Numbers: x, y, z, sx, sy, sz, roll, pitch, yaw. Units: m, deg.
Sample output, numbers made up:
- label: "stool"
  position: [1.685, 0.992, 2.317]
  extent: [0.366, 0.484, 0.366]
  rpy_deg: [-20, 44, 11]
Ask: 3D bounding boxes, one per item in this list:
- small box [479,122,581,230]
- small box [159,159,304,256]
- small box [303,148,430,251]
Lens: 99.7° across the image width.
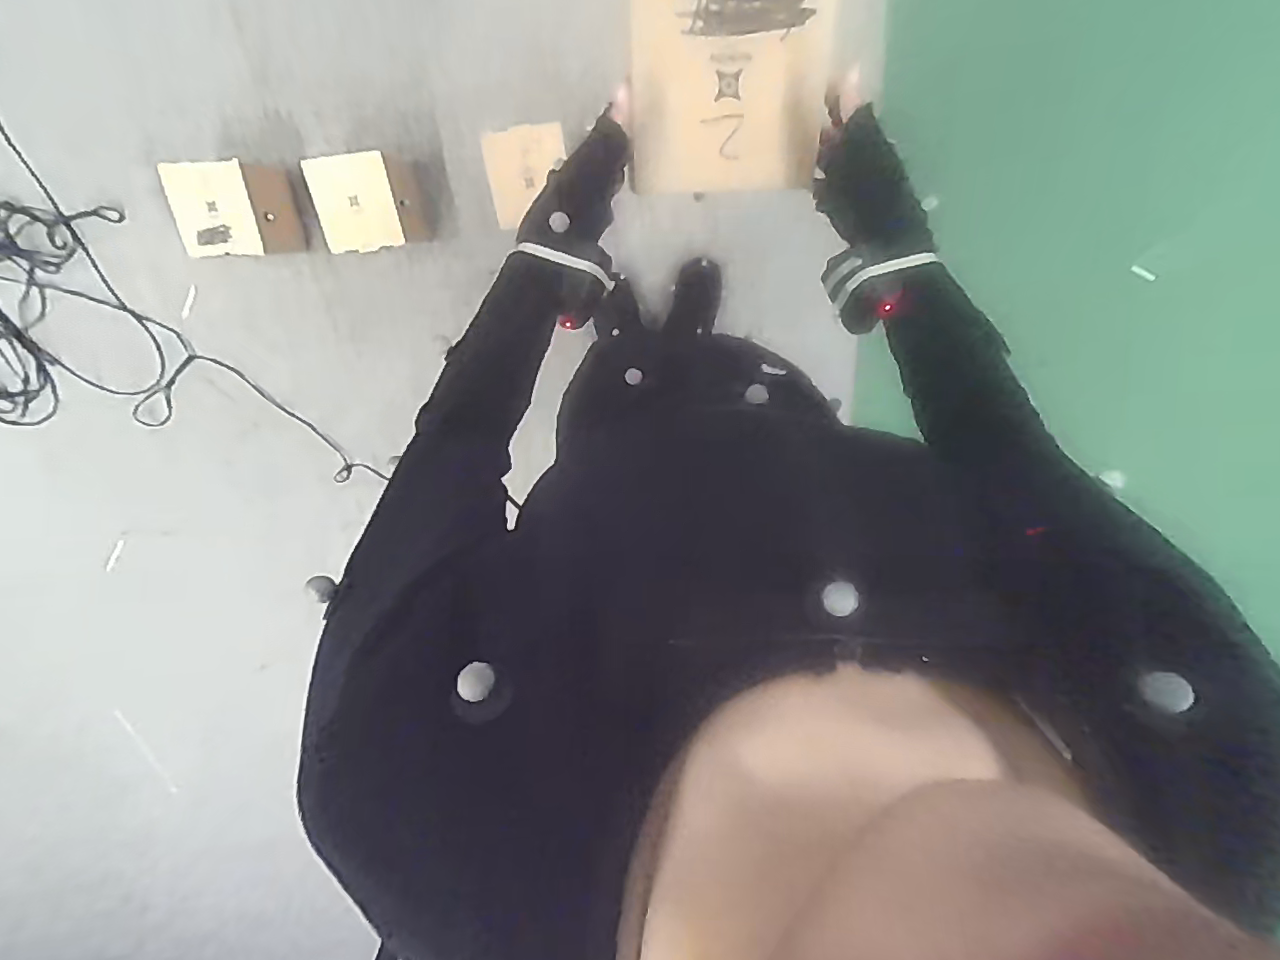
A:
- label: "small box"
  position: [-0.224, -0.645, 1.161]
  extent: [0.168, 0.176, 0.179]
  rpy_deg: [-8, 115, 2]
- label: "small box"
  position: [-0.872, -0.589, 1.178]
  extent: [0.168, 0.176, 0.179]
  rpy_deg: [-2, 114, 0]
- label: "small box"
  position: [-0.581, -0.603, 1.176]
  extent: [0.168, 0.176, 0.179]
  rpy_deg: [-6, 116, 2]
